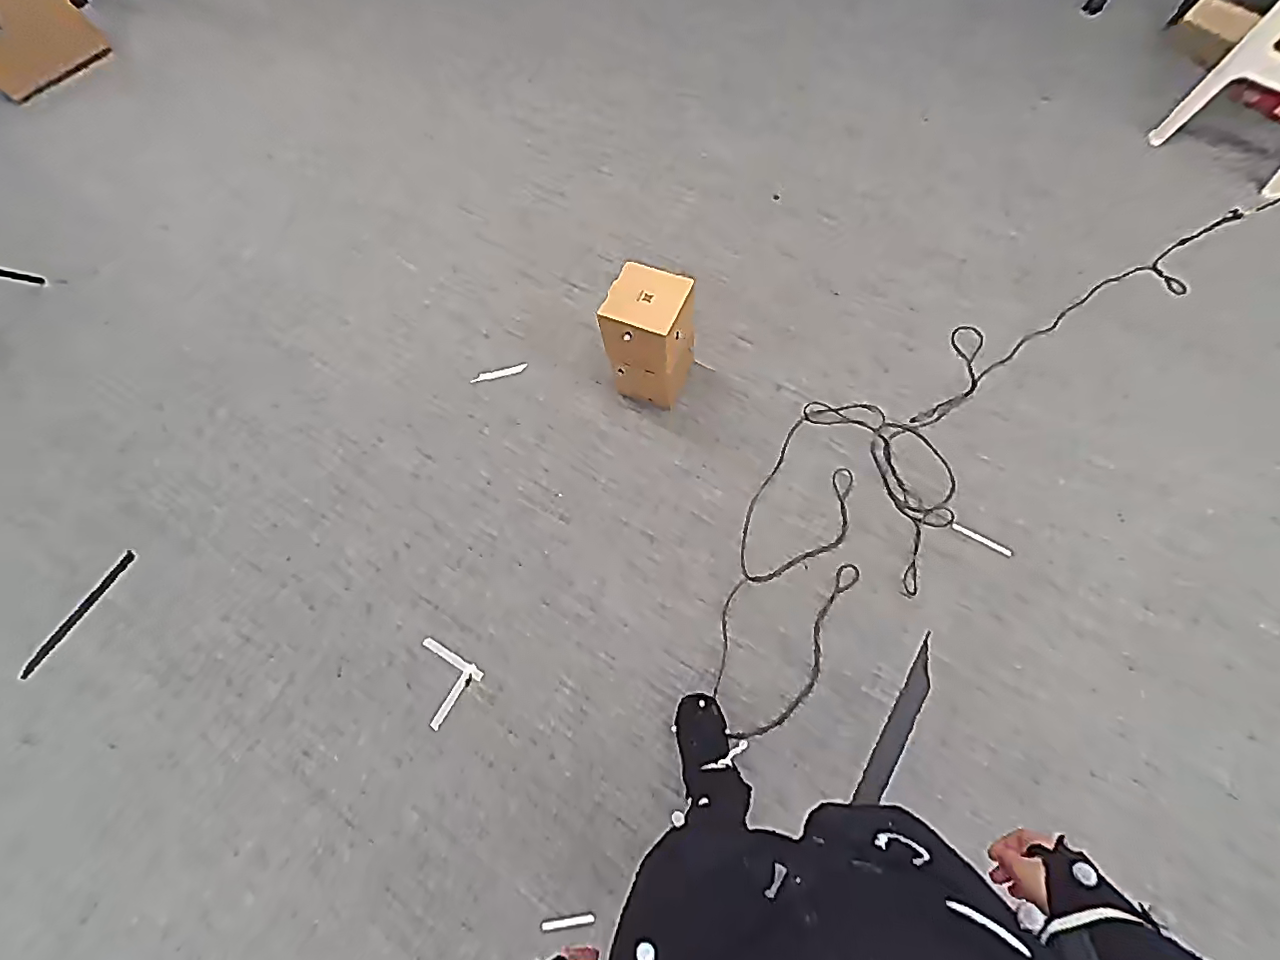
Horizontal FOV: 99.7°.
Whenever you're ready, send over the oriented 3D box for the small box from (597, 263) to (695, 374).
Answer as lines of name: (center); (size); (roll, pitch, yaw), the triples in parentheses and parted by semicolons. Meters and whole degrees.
small box: (0.022, -0.377, 1.288); (0.179, 0.176, 0.168); (21, 71, 14)
